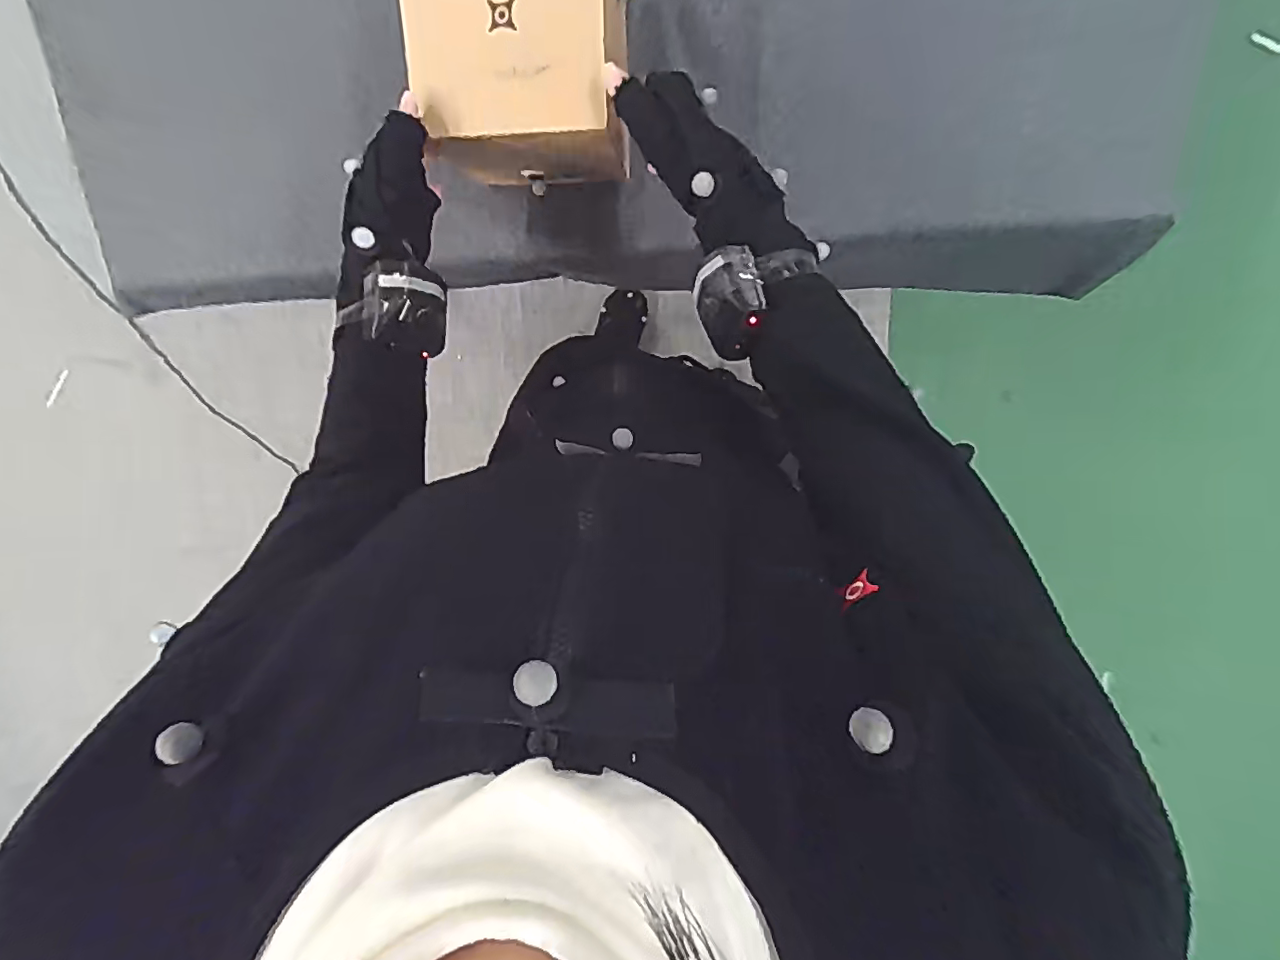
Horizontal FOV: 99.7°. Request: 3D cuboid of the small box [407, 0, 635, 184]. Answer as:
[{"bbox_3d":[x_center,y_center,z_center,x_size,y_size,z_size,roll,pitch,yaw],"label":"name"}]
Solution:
[{"bbox_3d":[-0.097,-0.396,0.503,0.168,0.176,0.179,0,107,7],"label":"small box"}]
